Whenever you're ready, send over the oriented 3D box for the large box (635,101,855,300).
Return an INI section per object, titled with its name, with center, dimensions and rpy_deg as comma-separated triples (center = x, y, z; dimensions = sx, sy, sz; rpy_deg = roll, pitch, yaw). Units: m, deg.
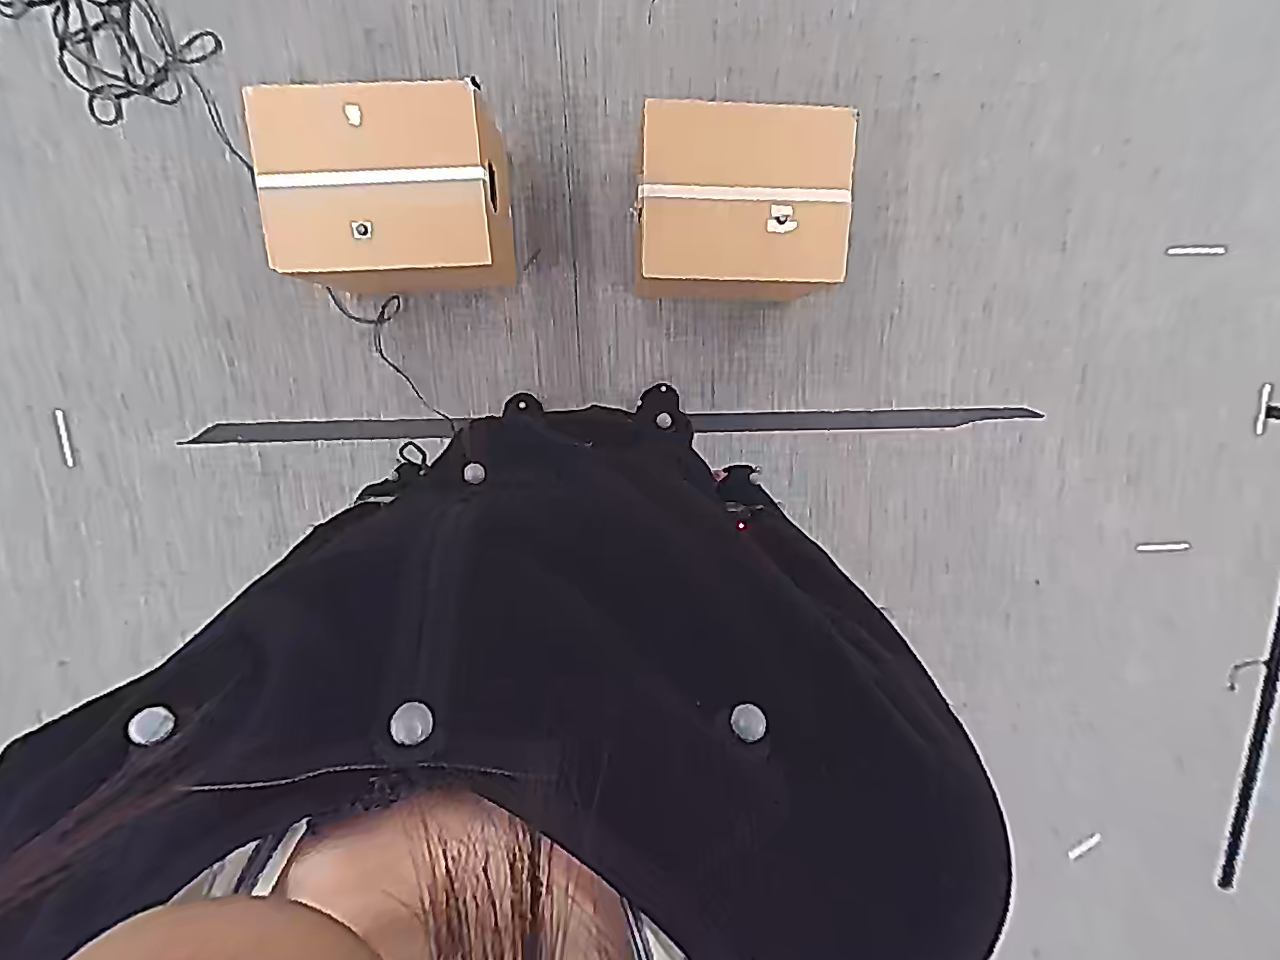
[large box]
center = 0.198, -0.577, 1.183
dimensions = 0.408, 0.320, 0.320
rpy_deg = 0, 102, -4
